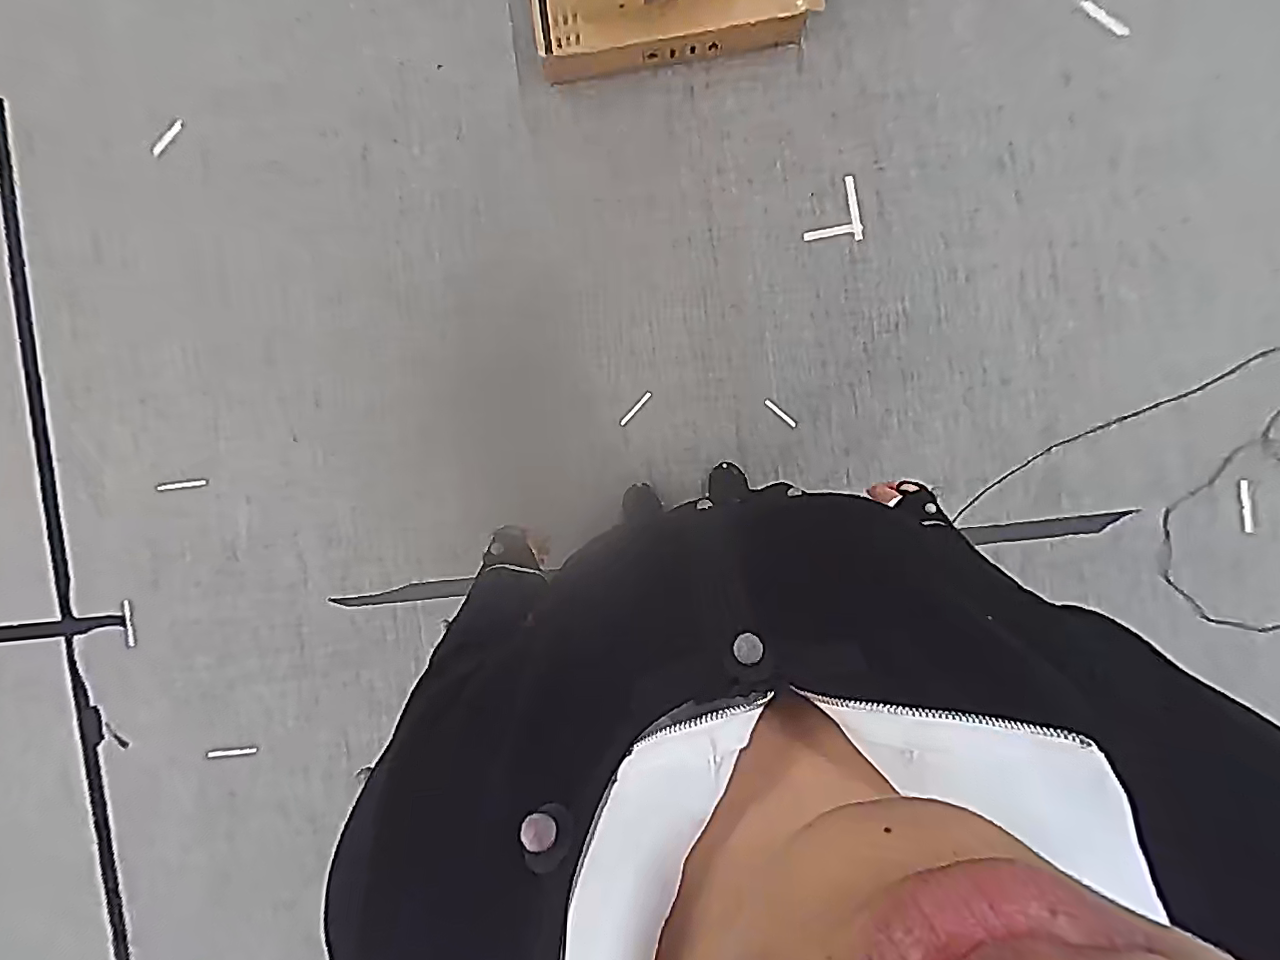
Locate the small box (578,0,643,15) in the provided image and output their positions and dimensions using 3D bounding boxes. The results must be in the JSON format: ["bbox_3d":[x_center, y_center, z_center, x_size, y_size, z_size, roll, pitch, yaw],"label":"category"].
[{"bbox_3d":[-0.087,-1.277,1.306,0.168,0.176,0.179,-10,91,4],"label":"small box"}]
